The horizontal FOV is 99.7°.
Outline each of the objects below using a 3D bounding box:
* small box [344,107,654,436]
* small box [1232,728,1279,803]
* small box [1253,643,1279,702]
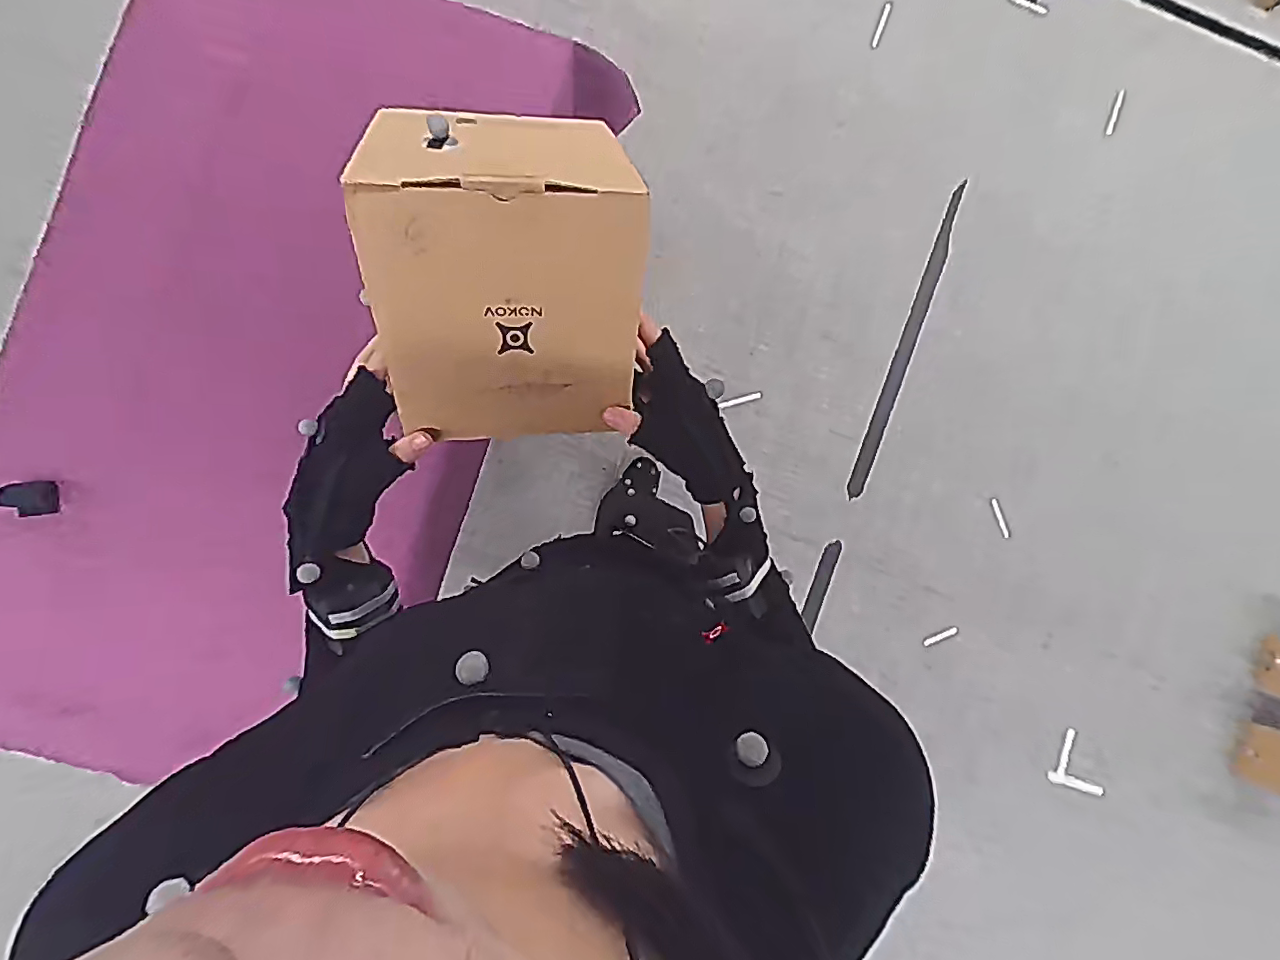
[{"bbox_3d":[-0.095,-0.155,0.398,0.168,0.179,0.176,-4,45,-12],"label":"small box"},{"bbox_3d":[1.869,0.847,1.542,0.168,0.176,0.179,24,86,-2],"label":"small box"},{"bbox_3d":[1.967,0.589,1.565,0.179,0.176,0.168,20,84,-2],"label":"small box"}]
